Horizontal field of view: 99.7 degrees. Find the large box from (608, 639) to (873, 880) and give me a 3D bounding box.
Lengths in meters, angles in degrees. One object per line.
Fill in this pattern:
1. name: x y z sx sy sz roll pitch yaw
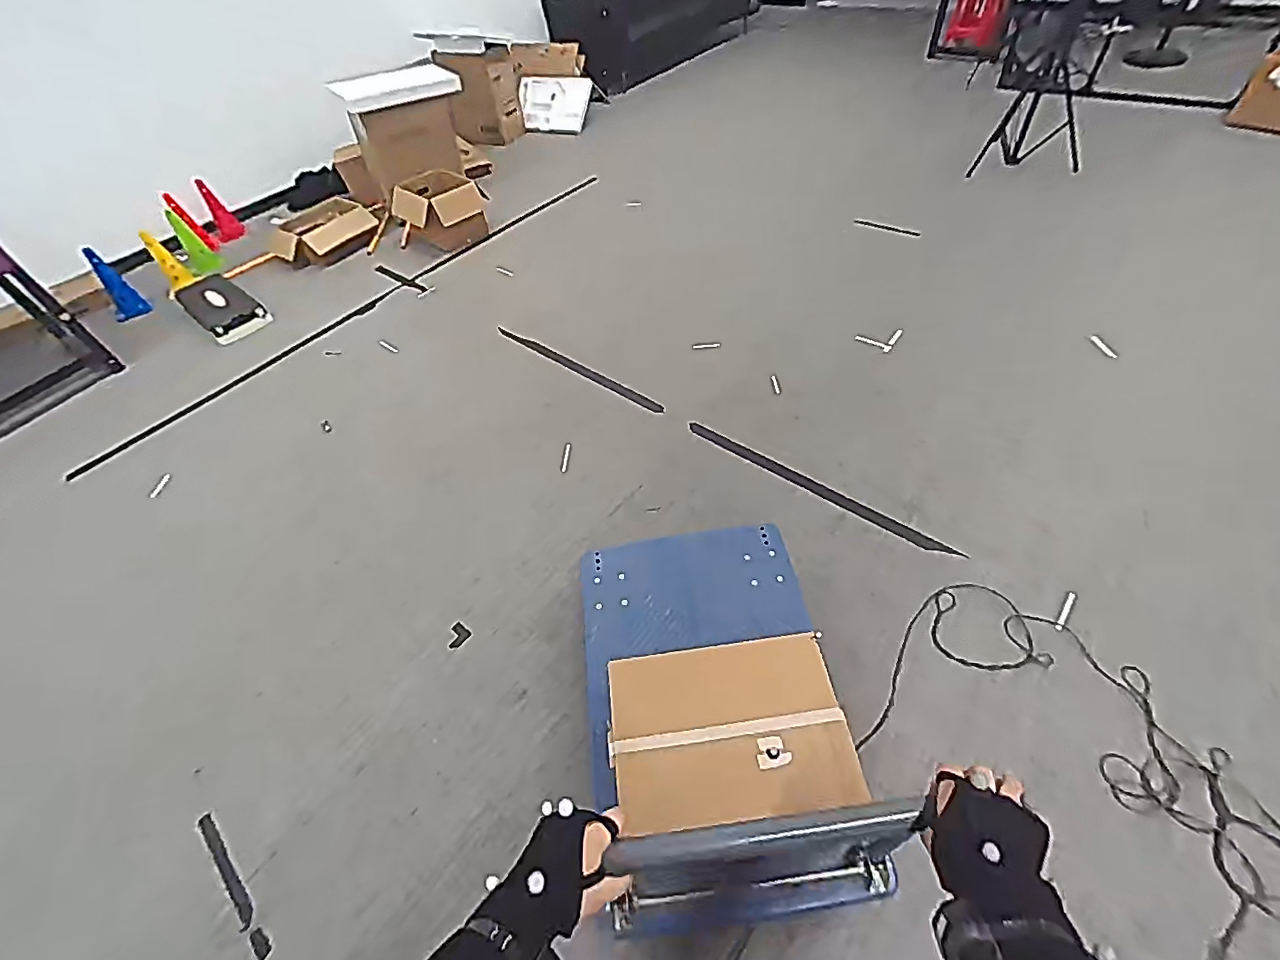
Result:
1. large box: 0.163 0.546 1.049 0.408 0.320 0.320 -8 50 -1
